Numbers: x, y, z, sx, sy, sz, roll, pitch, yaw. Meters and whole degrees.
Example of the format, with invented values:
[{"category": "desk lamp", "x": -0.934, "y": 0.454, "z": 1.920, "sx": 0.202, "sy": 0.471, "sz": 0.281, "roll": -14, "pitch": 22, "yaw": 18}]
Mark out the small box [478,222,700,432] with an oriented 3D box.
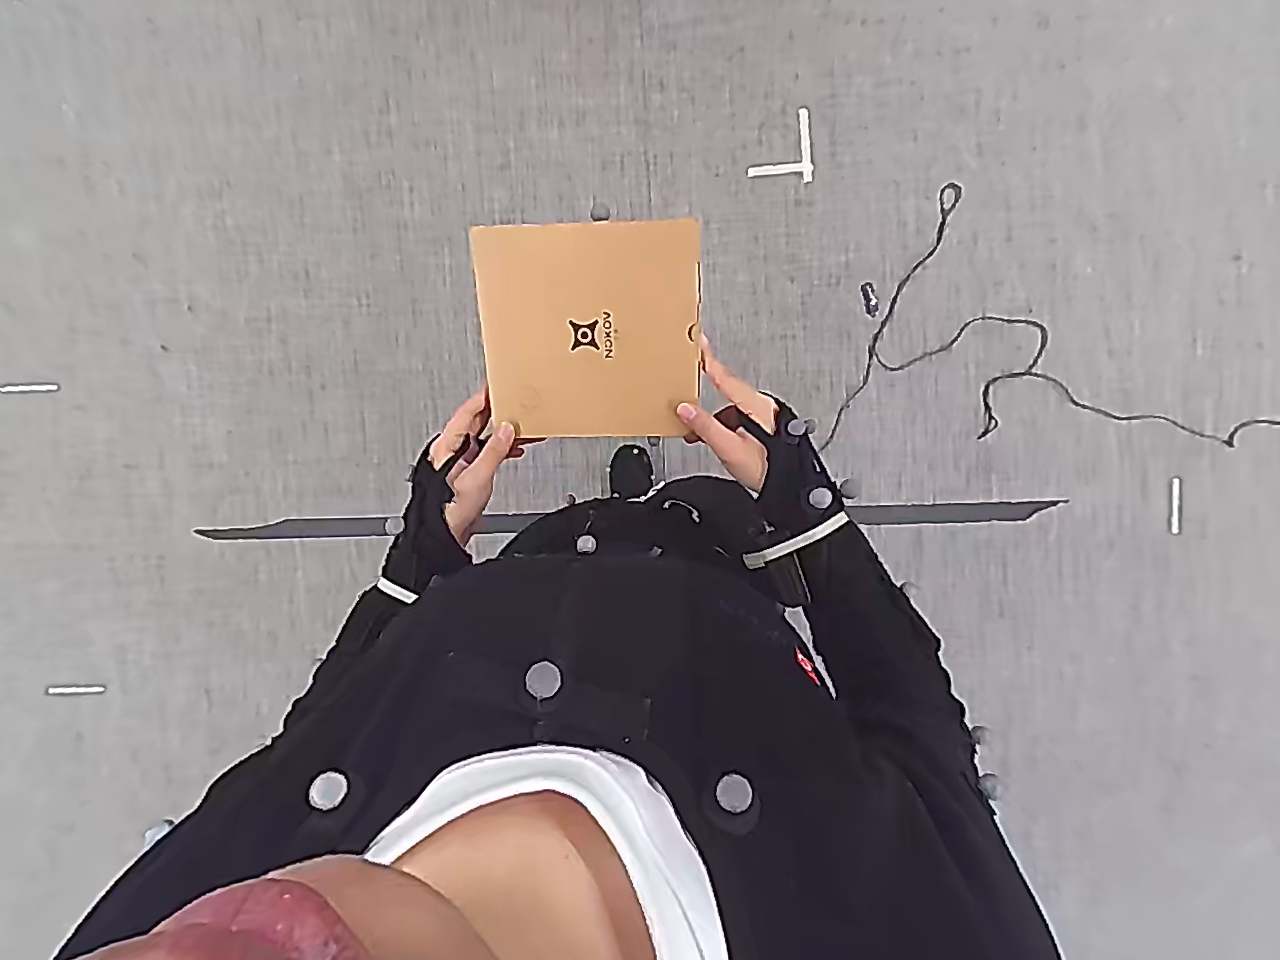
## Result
[{"category": "small box", "x": -0.034, "y": -0.142, "z": 0.514, "sx": 0.179, "sy": 0.176, "sz": 0.168, "roll": -1, "pitch": 108, "yaw": 3}]
